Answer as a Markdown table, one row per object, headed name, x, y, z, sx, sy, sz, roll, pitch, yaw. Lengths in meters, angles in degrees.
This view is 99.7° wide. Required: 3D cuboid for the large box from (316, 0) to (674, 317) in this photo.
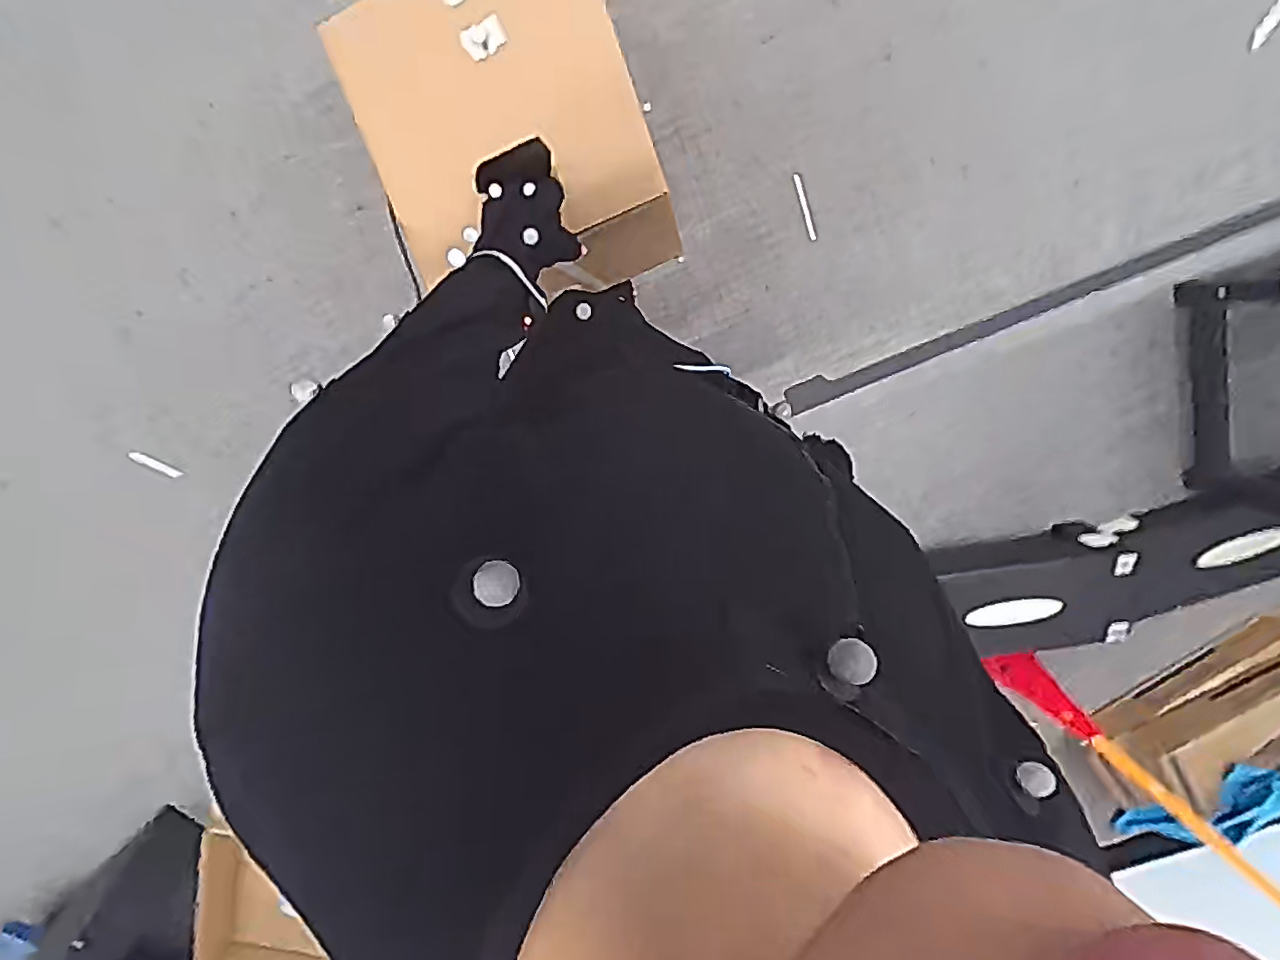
| name | x | y | z | sx | sy | sz | roll | pitch | yaw |
| --- | --- | --- | --- | --- | --- | --- | --- | --- | --- |
| large box | -0.161 | -0.456 | 0.805 | 0.320 | 0.408 | 0.320 | -20 | 101 | 12 |
